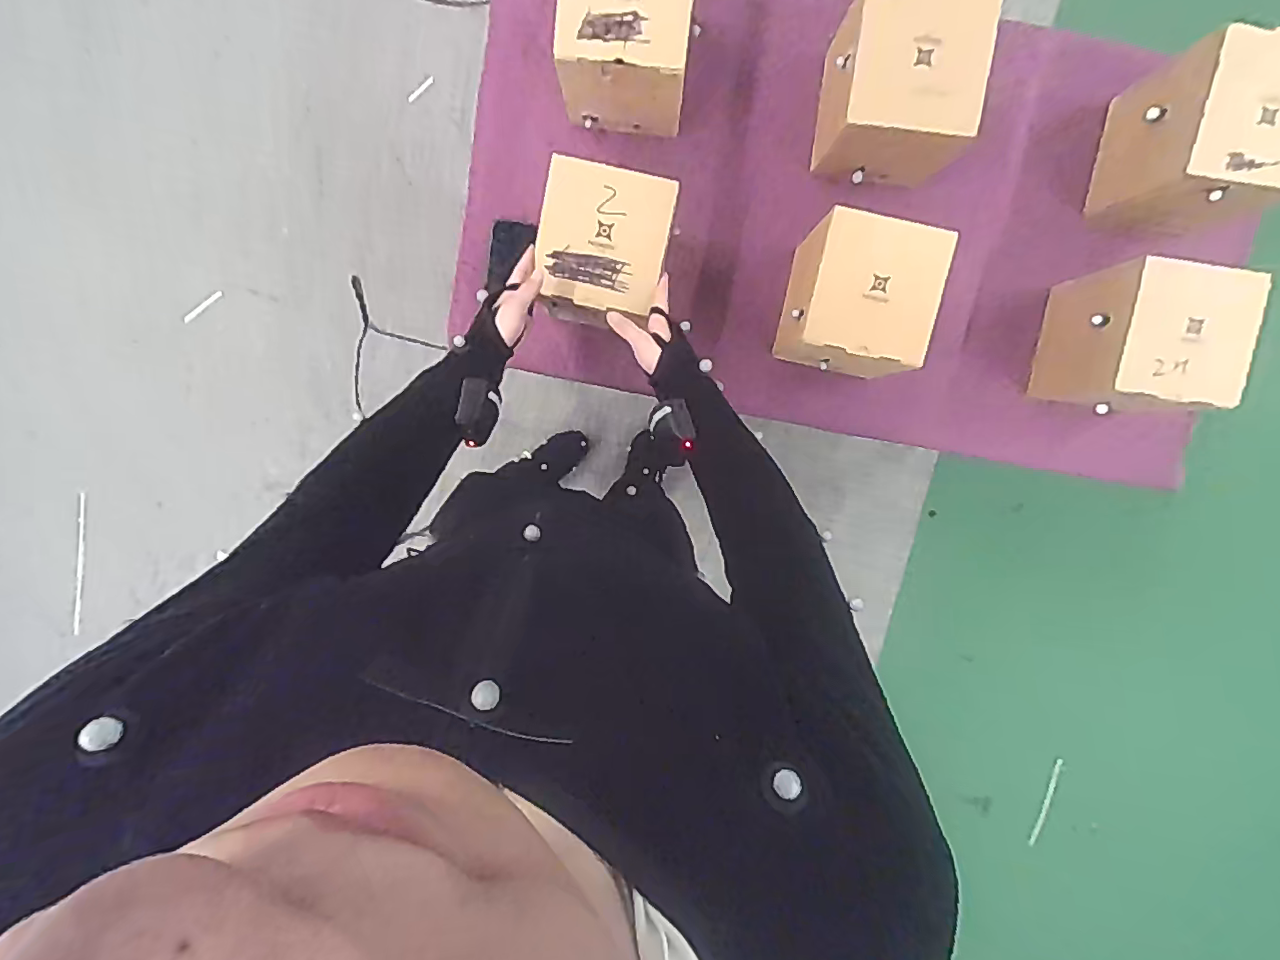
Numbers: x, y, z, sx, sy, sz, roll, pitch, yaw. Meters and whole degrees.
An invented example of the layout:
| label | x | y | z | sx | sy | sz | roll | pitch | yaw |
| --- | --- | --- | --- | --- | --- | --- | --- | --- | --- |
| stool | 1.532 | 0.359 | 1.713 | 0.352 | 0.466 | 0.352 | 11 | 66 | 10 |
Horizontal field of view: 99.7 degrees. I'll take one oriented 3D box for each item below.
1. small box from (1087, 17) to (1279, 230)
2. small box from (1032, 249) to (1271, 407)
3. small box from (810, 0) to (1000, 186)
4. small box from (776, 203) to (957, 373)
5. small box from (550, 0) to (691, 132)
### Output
| label | x | y | z | sx | sy | sz | roll | pitch | yaw |
| --- | --- | --- | --- | --- | --- | --- | --- | --- | --- |
| small box | 0.769 | -0.471 | 0.741 | 0.168 | 0.176 | 0.179 | 8 | 97 | 0 |
| small box | 0.709 | -0.205 | 0.774 | 0.168 | 0.176 | 0.179 | 9 | 97 | 0 |
| small box | 0.345 | -0.534 | 0.737 | 0.168 | 0.176 | 0.179 | 7 | 98 | 0 |
| small box | 0.307 | -0.260 | 0.773 | 0.168 | 0.176 | 0.179 | 11 | 97 | -1 |
| small box | -0.019 | -0.605 | 0.728 | 0.168 | 0.176 | 0.179 | 6 | 97 | -1 |
